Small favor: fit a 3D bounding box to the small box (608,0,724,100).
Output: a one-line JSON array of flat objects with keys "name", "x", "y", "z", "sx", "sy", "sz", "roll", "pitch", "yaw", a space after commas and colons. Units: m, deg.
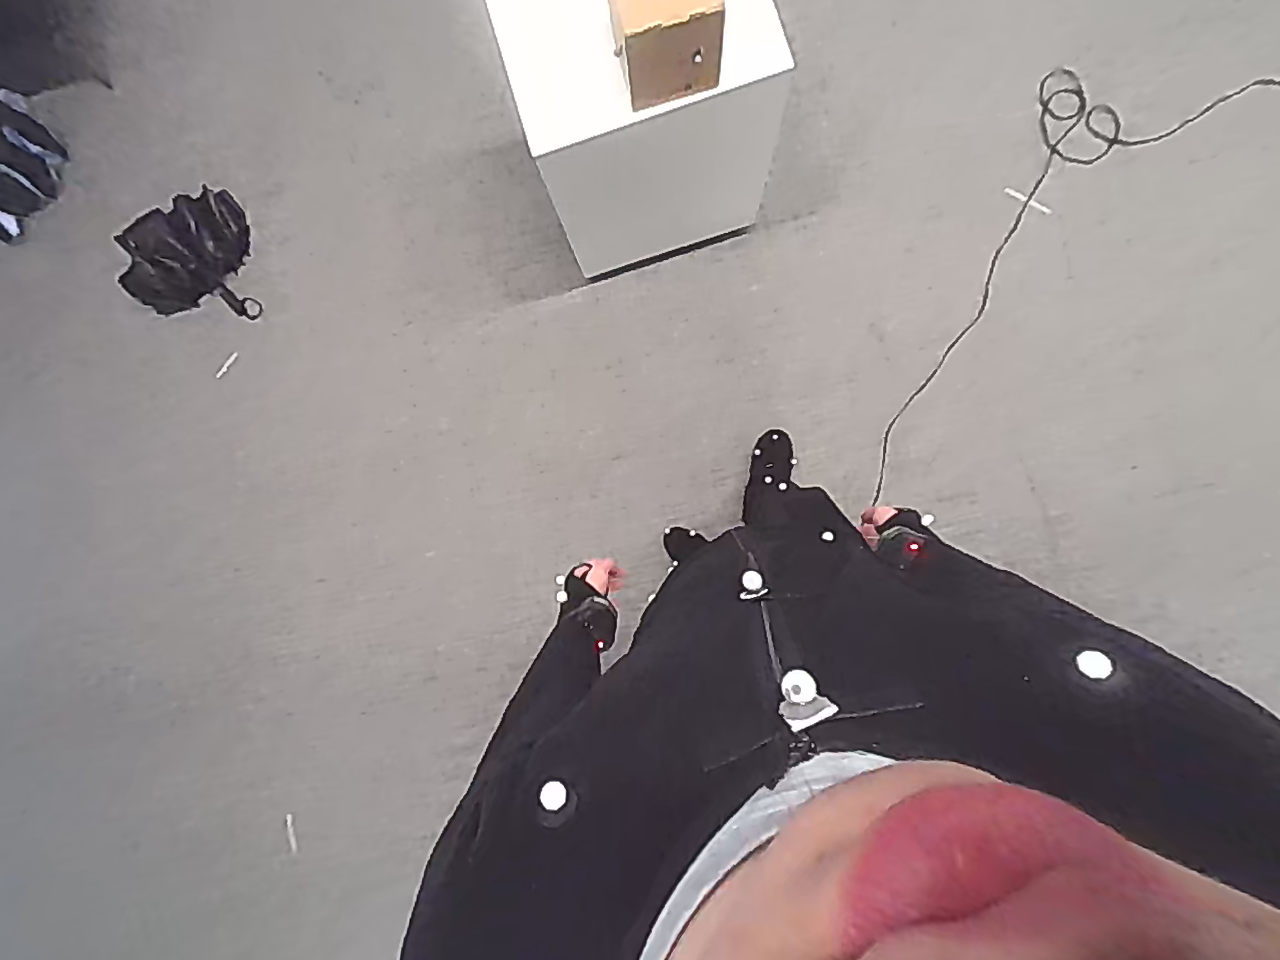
[{"name": "small box", "x": 0.039, "y": -0.792, "z": 0.922, "sx": 0.168, "sy": 0.176, "sz": 0.179, "roll": -14, "pitch": 85, "yaw": 2}]
